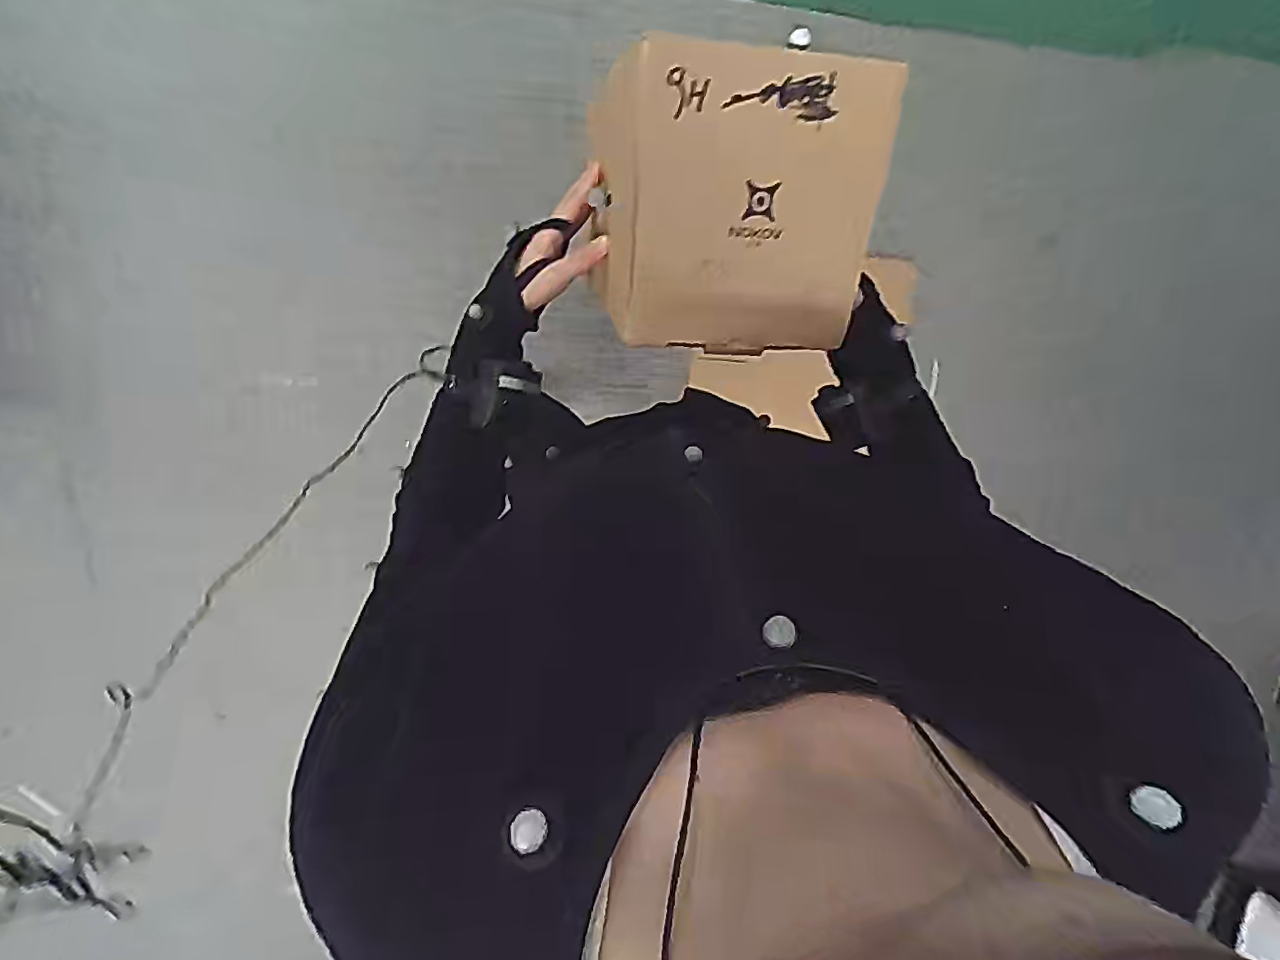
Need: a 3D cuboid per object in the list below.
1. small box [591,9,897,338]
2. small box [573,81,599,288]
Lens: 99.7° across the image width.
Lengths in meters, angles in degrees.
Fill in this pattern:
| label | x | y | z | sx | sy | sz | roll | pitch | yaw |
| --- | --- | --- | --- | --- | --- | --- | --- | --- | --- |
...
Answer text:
| label | x | y | z | sx | sy | sz | roll | pitch | yaw |
| --- | --- | --- | --- | --- | --- | --- | --- | --- | --- |
| small box | 0.053 | -0.219 | 0.411 | 0.168 | 0.176 | 0.179 | -2 | 121 | -10 |
| small box | 0.021 | -0.295 | 0.554 | 0.168 | 0.176 | 0.179 | 1 | 120 | -11 |
